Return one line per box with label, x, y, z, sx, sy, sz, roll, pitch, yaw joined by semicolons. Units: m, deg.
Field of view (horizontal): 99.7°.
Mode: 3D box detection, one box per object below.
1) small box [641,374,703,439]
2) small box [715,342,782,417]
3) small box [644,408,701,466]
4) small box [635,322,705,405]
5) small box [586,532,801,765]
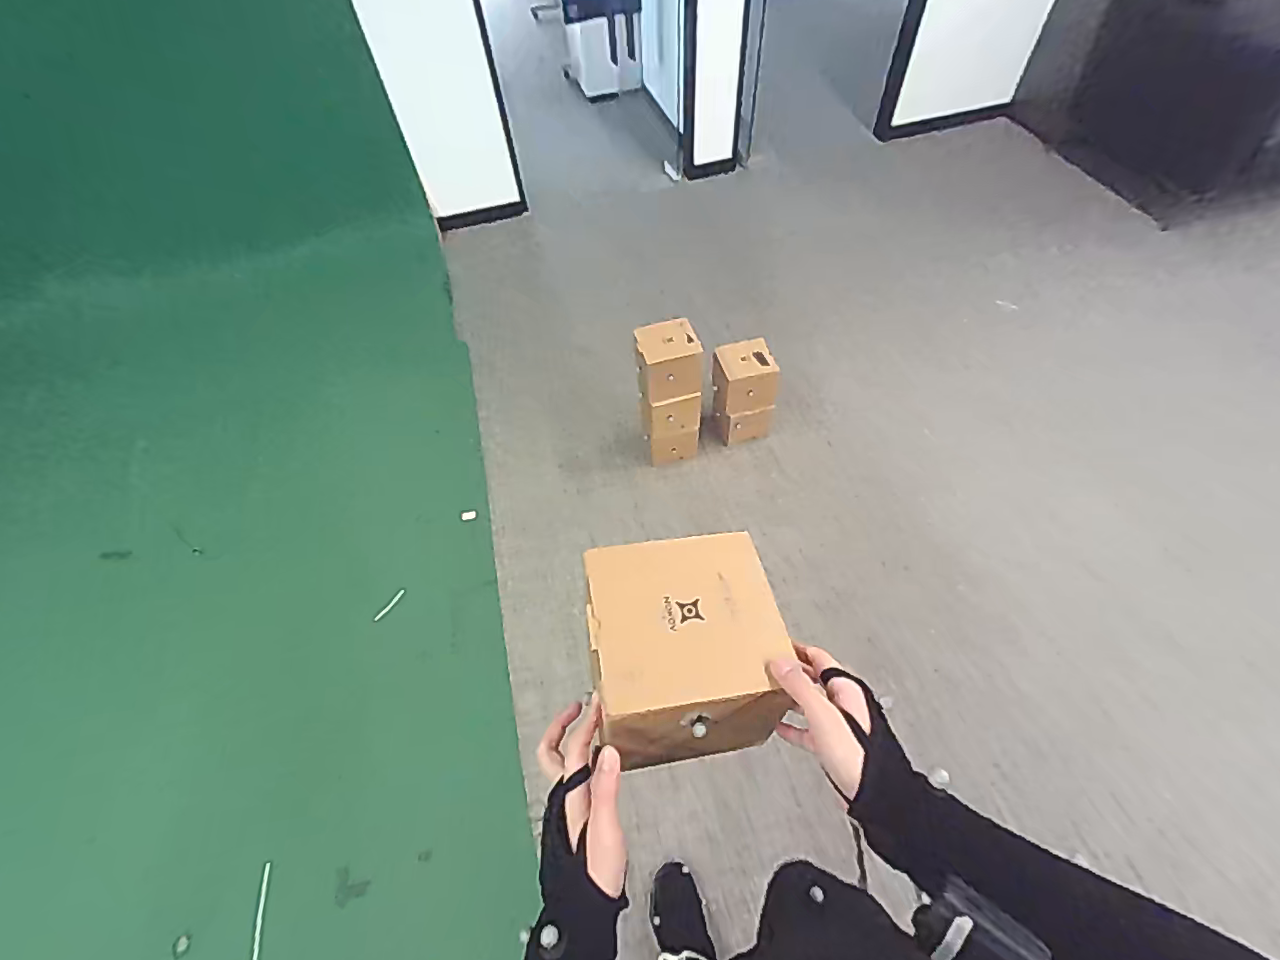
small box;0.108;-0.258;1.810;0.168;0.176;0.179;-15;55;-6
small box;0.364;-0.339;1.843;0.179;0.176;0.168;-13;54;-3
small box;0.117;-0.166;1.943;0.168;0.176;0.179;-13;56;-5
small box;0.096;-0.356;1.679;0.179;0.176;0.168;-15;55;-5
small box;0.041;0.177;0.562;0.179;0.176;0.168;-5;47;-8
